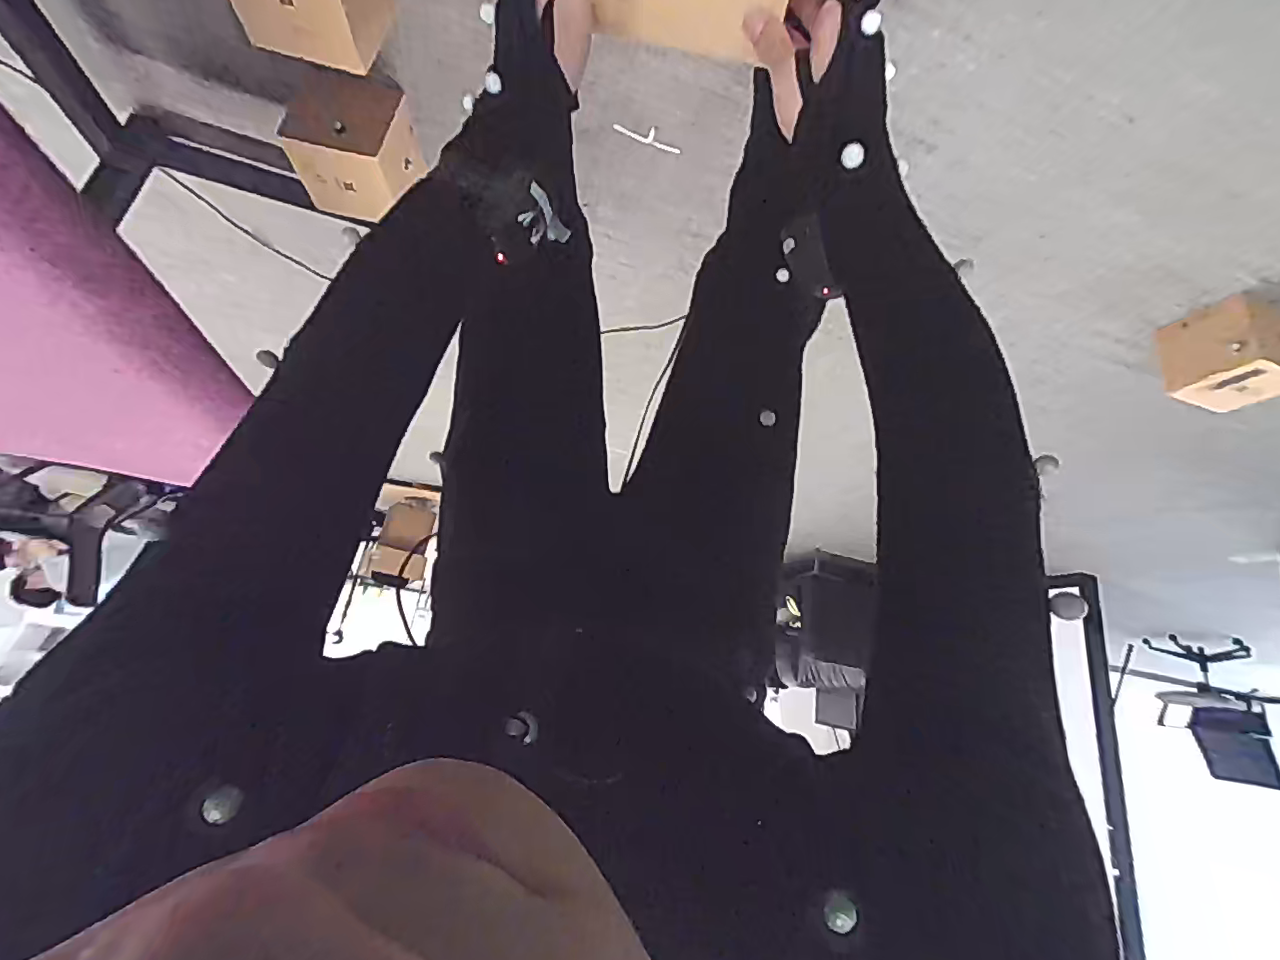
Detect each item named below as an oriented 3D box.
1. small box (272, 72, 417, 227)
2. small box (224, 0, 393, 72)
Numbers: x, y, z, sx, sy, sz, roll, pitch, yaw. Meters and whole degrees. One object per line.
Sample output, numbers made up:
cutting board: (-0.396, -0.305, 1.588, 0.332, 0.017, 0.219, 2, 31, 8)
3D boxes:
small box: (-0.534, -0.615, 1.013, 0.179, 0.176, 0.168, 11, 161, -5)
small box: (-0.453, -0.708, 0.720, 0.168, 0.176, 0.179, 12, 161, -6)
